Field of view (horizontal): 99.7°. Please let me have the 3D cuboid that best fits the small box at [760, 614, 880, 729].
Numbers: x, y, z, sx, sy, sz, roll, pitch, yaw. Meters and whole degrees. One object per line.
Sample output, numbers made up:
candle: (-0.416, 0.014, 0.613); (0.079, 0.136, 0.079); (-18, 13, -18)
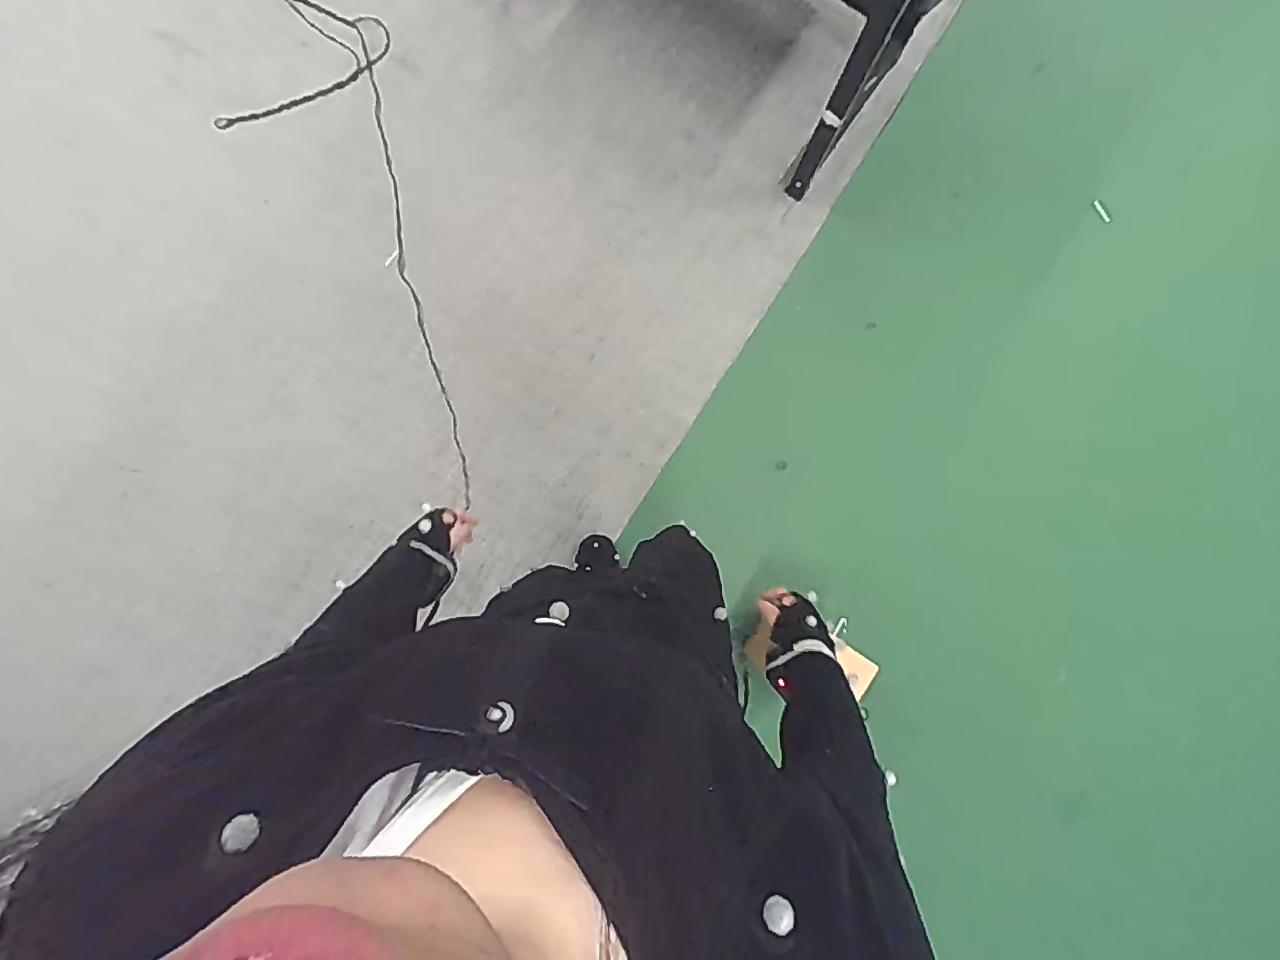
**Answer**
small box: (0.406, 0.430, 1.251); (0.179, 0.176, 0.168); (34, 86, 1)
